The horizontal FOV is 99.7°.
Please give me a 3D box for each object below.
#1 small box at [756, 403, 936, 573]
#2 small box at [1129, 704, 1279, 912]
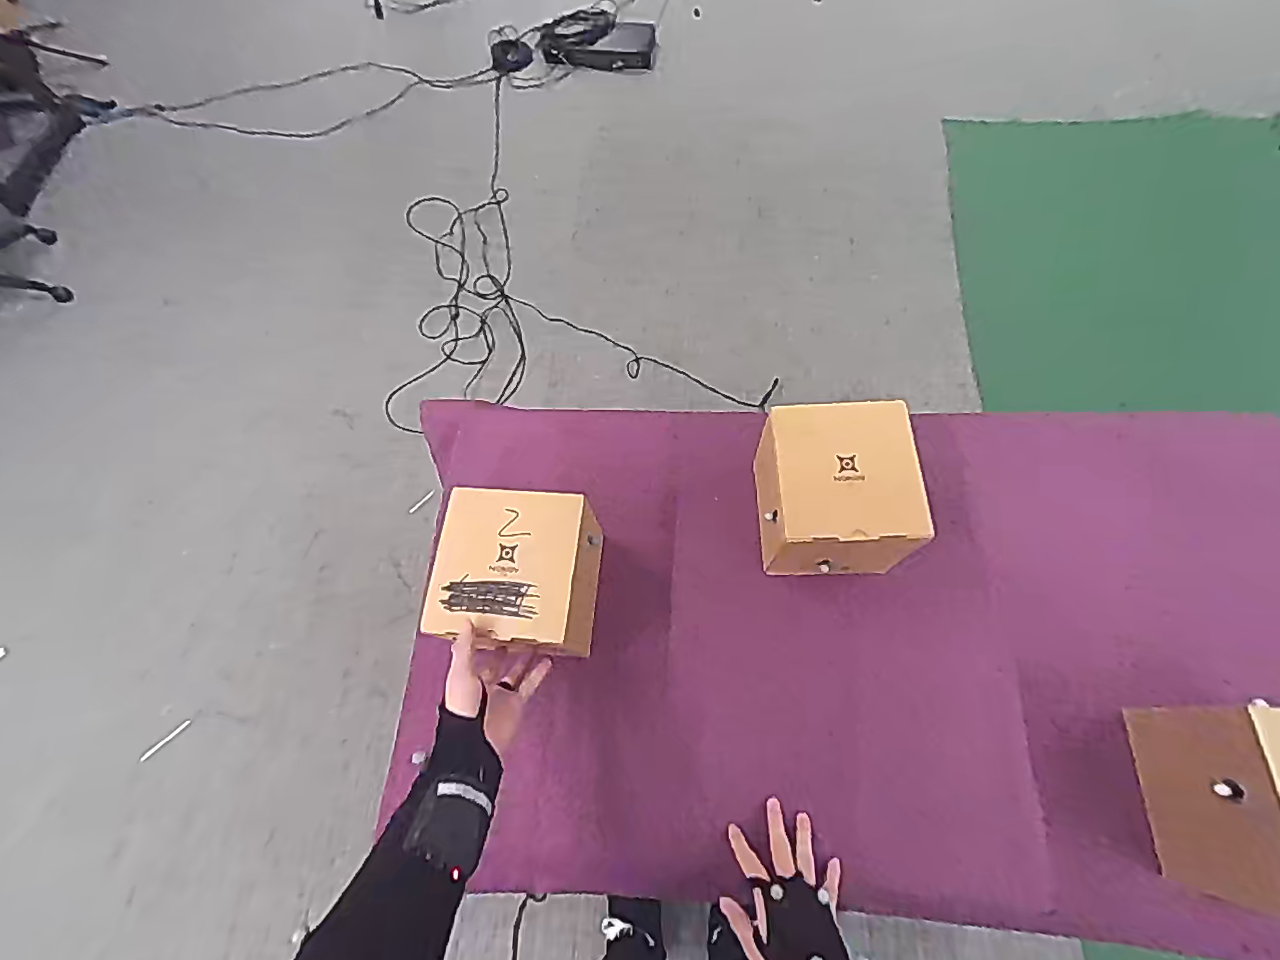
[{"bbox_3d":[0.251,0.018,0.708,0.168,0.176,0.179,-2,69,3],"label":"small box"},{"bbox_3d":[0.652,0.329,0.544,0.168,0.176,0.179,3,67,7],"label":"small box"}]
